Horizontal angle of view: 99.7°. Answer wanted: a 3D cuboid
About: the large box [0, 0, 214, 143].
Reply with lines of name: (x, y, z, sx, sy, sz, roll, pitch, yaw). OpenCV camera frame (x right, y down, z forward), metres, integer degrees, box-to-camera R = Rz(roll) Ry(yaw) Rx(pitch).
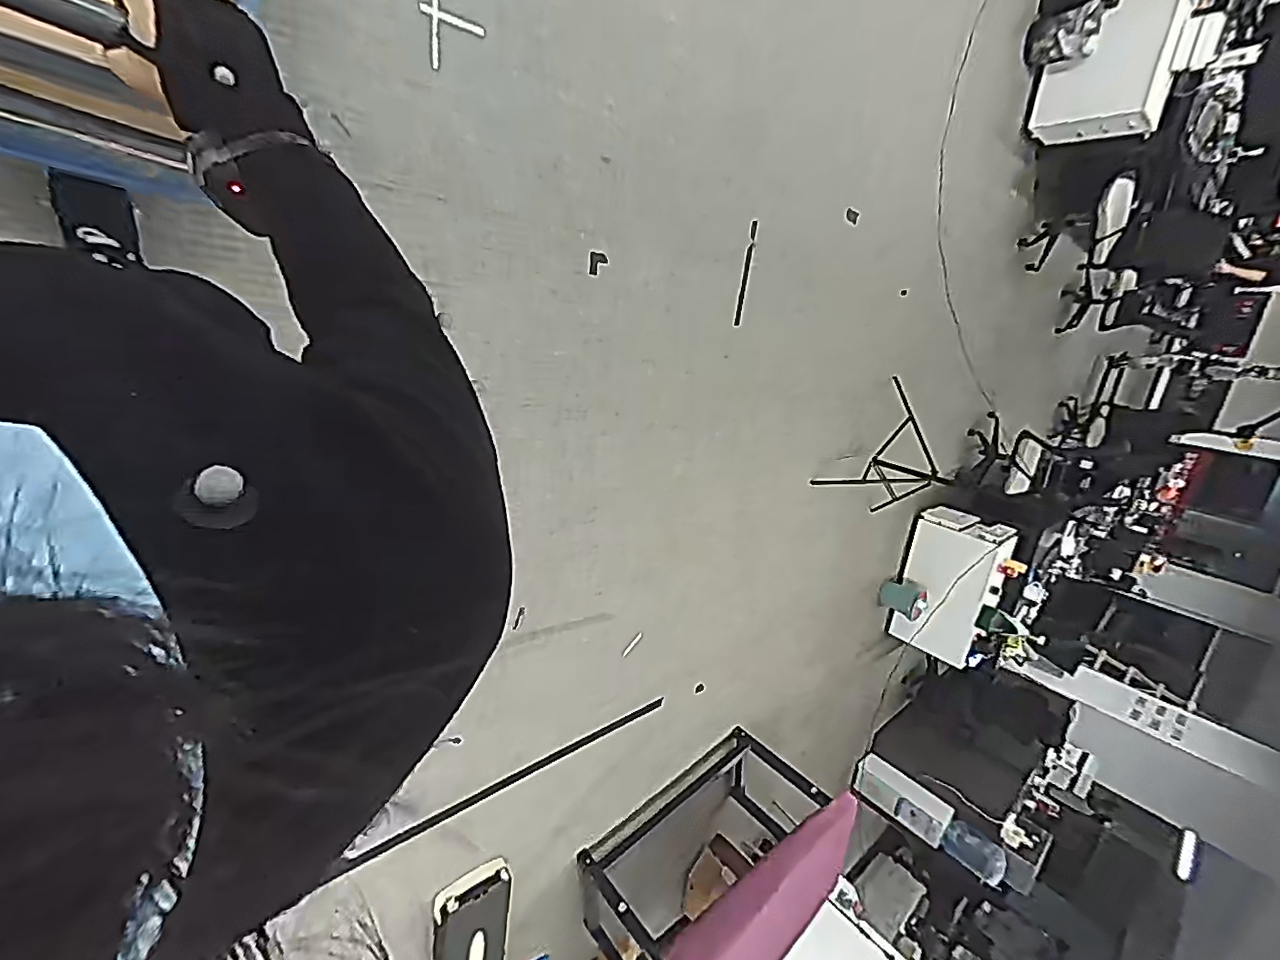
large box: (-0.784, -0.668, 0.649, 0.408, 0.320, 0.320, -2, 109, -43)
